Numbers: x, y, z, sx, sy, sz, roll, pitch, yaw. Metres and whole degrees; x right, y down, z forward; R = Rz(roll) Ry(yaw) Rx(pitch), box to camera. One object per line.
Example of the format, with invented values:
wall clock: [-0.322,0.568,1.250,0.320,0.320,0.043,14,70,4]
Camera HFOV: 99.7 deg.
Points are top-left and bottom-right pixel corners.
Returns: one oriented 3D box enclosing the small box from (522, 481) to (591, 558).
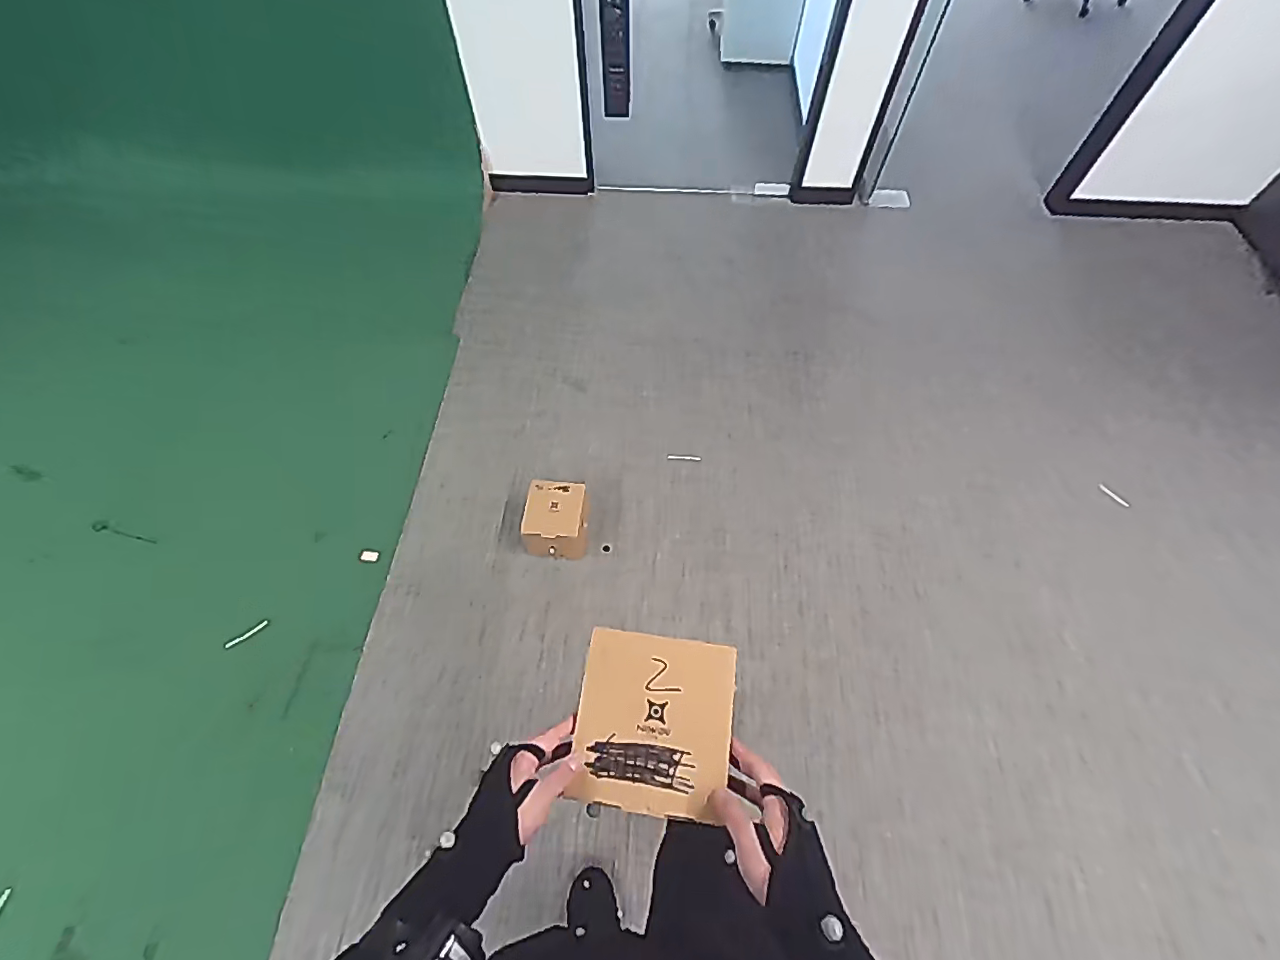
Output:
small box: [-0.242,0.122,1.620,0.168,0.176,0.179,5,61,3]
